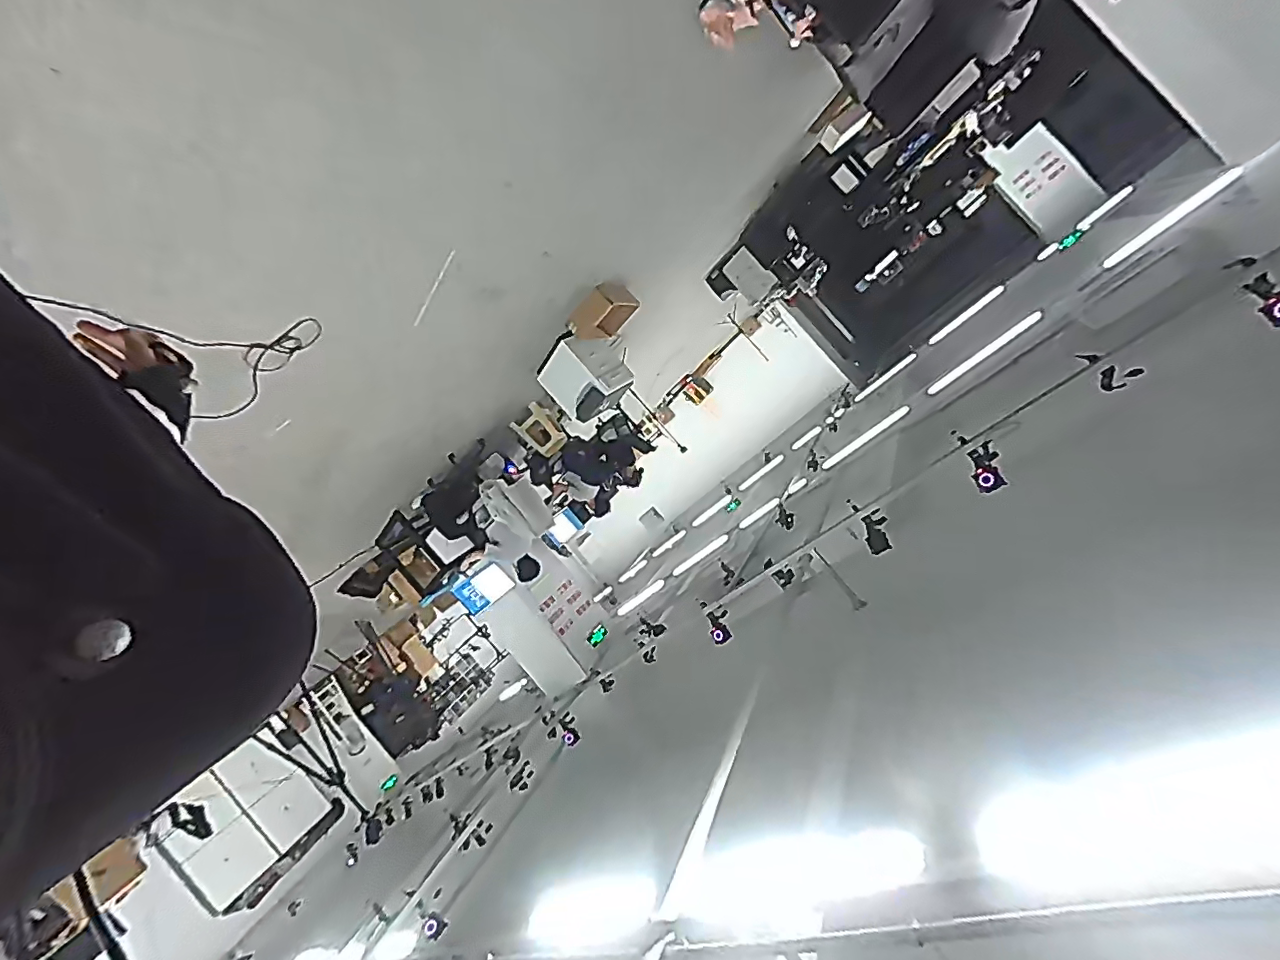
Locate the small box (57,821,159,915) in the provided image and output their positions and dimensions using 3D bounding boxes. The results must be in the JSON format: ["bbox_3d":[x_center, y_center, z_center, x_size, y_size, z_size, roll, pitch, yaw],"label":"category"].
[{"bbox_3d":[-1.700,1.237,1.731,0.168,0.176,0.179,-44,179,36],"label":"small box"}]

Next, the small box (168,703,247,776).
[{"bbox_3d":[-1.647,0.980,2.053,0.179,0.176,0.168,-42,178,36],"label":"small box"}]
